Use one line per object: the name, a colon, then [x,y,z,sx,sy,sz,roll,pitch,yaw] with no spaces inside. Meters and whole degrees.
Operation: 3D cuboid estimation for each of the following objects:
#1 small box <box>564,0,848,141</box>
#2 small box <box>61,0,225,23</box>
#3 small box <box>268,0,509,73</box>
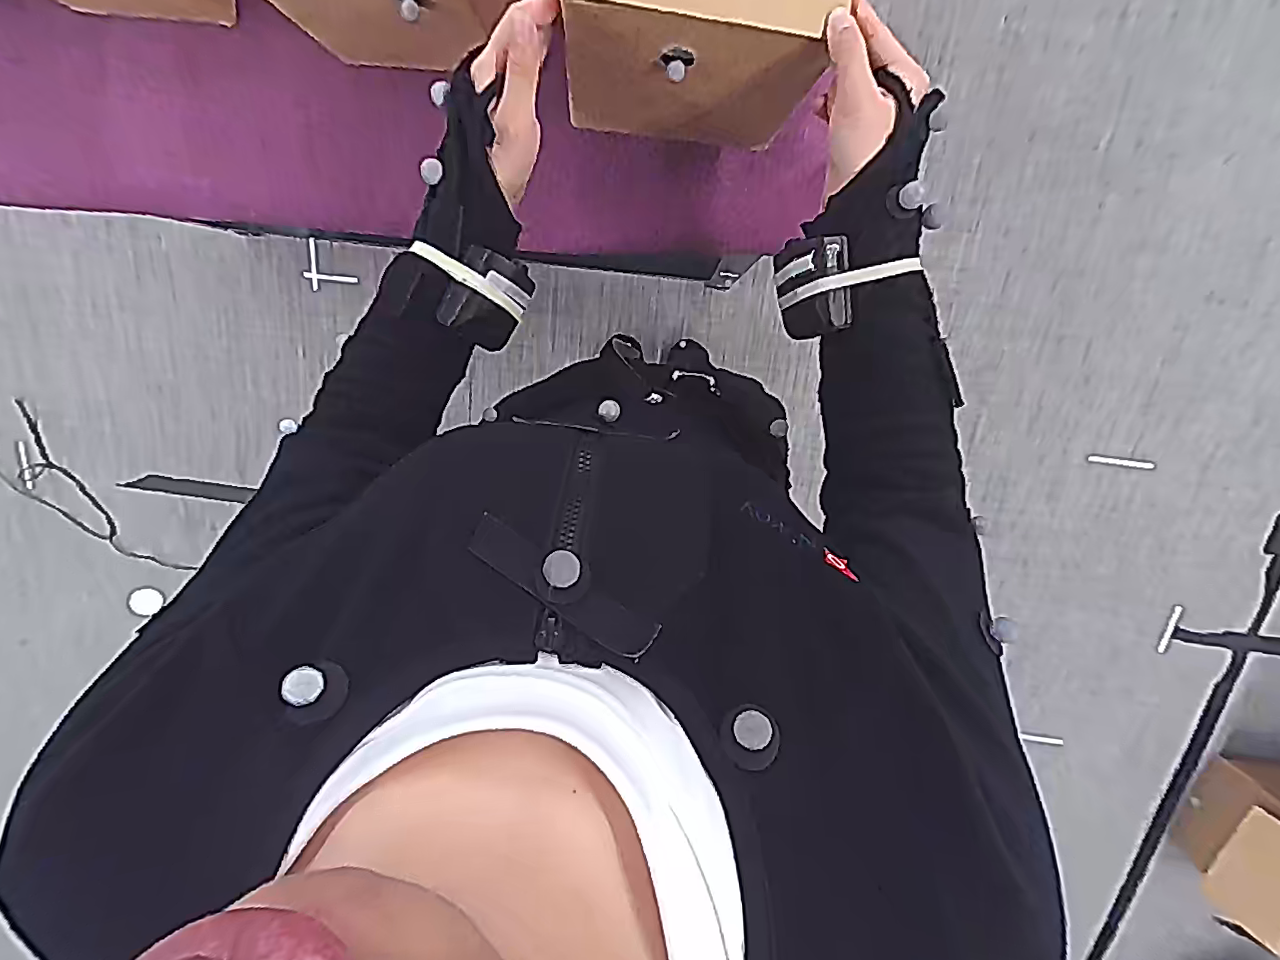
small box: [0.038,-0.368,0.383,0.179,0.176,0.168,4,102,-6]
small box: [-0.479,-0.516,0.442,0.179,0.176,0.168,7,106,3]
small box: [-0.206,-0.460,0.432,0.179,0.176,0.168,6,104,3]
